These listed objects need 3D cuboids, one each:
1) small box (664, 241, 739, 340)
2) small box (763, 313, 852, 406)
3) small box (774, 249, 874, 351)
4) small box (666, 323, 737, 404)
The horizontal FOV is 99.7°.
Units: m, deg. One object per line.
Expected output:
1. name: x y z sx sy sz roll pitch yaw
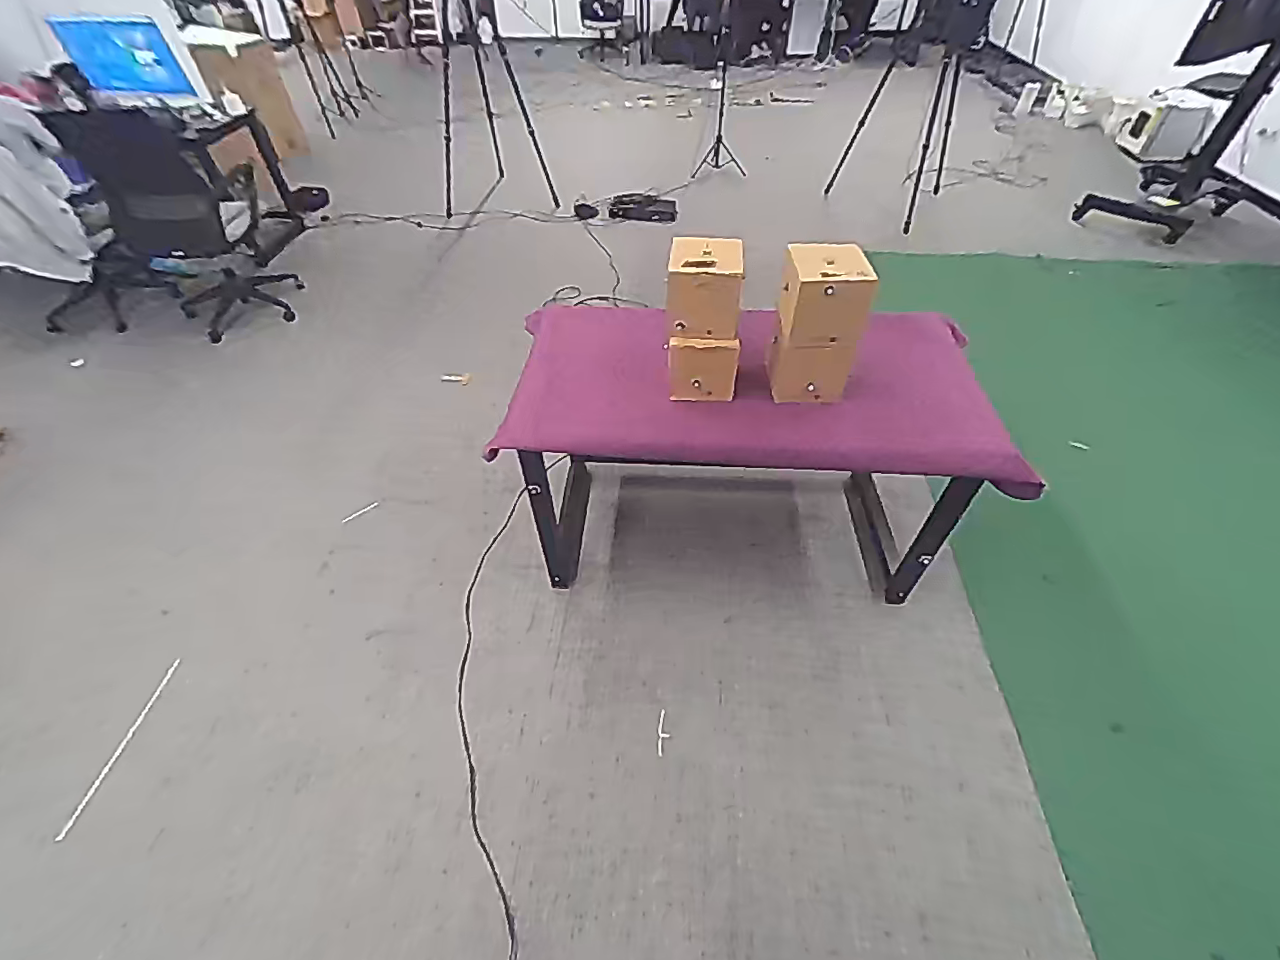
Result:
1. small box: 0.145 -0.451 1.291 0.168 0.176 0.179 4 47 5
2. small box: 0.416 -0.308 1.376 0.168 0.176 0.179 0 47 1
3. small box: 0.415 -0.420 1.257 0.168 0.176 0.179 -1 46 1
4. small box: 0.151 -0.316 1.391 0.168 0.176 0.179 1 48 2
